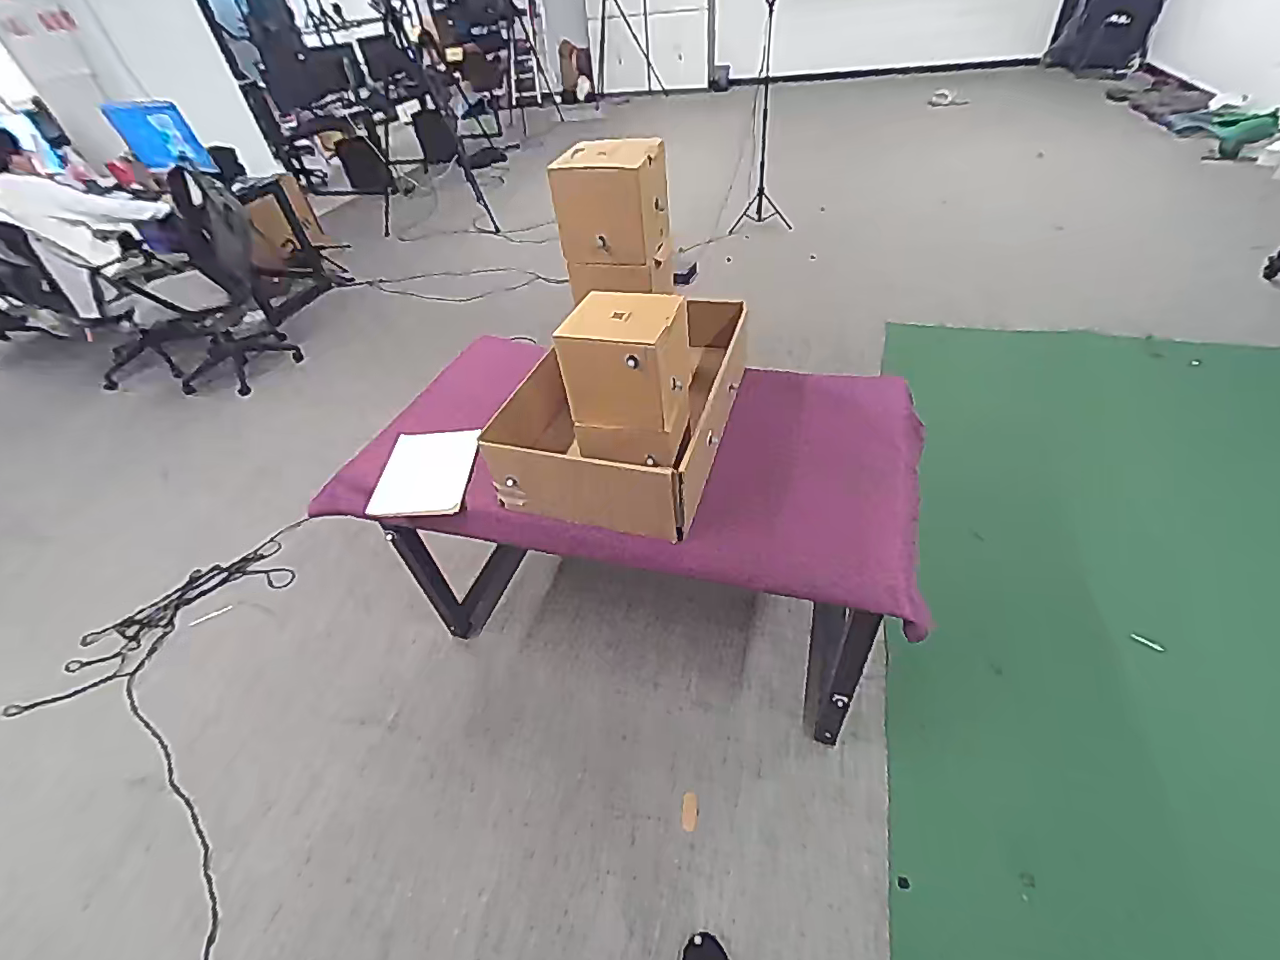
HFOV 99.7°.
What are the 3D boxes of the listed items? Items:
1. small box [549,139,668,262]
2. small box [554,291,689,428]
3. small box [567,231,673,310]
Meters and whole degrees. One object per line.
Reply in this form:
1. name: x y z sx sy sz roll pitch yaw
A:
1. small box: -0.048 -0.532 1.032 0.179 0.176 0.168 10 47 16
2. small box: -0.021 -0.205 0.920 0.179 0.176 0.168 10 45 17
3. small box: -0.032 -0.413 1.144 0.179 0.176 0.168 7 46 15
